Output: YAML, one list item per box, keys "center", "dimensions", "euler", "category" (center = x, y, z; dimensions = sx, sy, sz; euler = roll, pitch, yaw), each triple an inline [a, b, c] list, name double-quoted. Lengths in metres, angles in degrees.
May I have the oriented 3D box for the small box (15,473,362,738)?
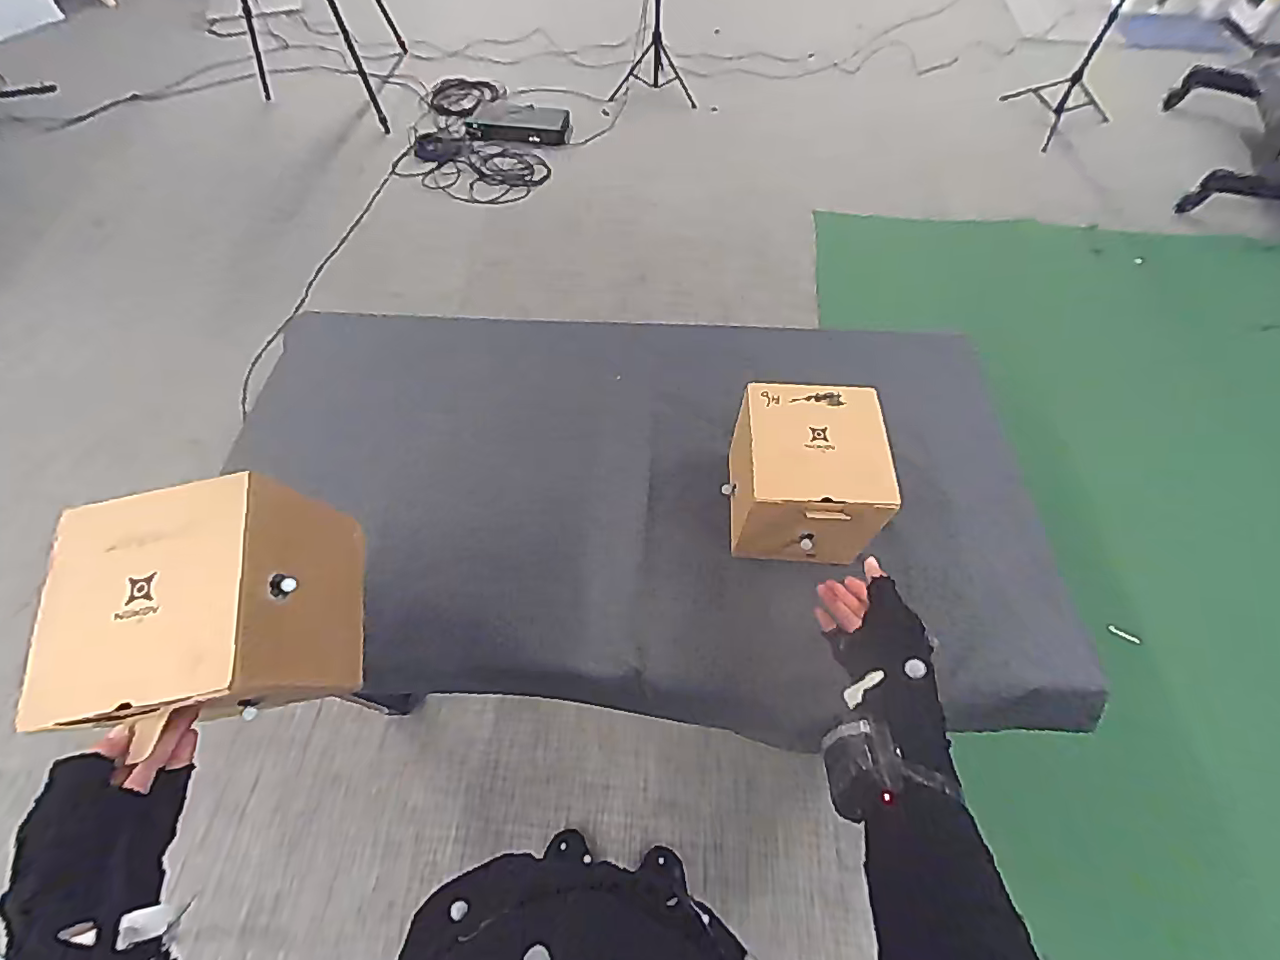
- center: [-0.375, 0.116, 0.488]
  dimensions: [0.168, 0.176, 0.179]
  euler: [-12, 68, 1]
  category: "small box"

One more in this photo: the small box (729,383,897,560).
- center: [0.213, -0.005, 0.716]
  dimensions: [0.168, 0.176, 0.179]
  euler: [3, 60, 2]
  category: "small box"
